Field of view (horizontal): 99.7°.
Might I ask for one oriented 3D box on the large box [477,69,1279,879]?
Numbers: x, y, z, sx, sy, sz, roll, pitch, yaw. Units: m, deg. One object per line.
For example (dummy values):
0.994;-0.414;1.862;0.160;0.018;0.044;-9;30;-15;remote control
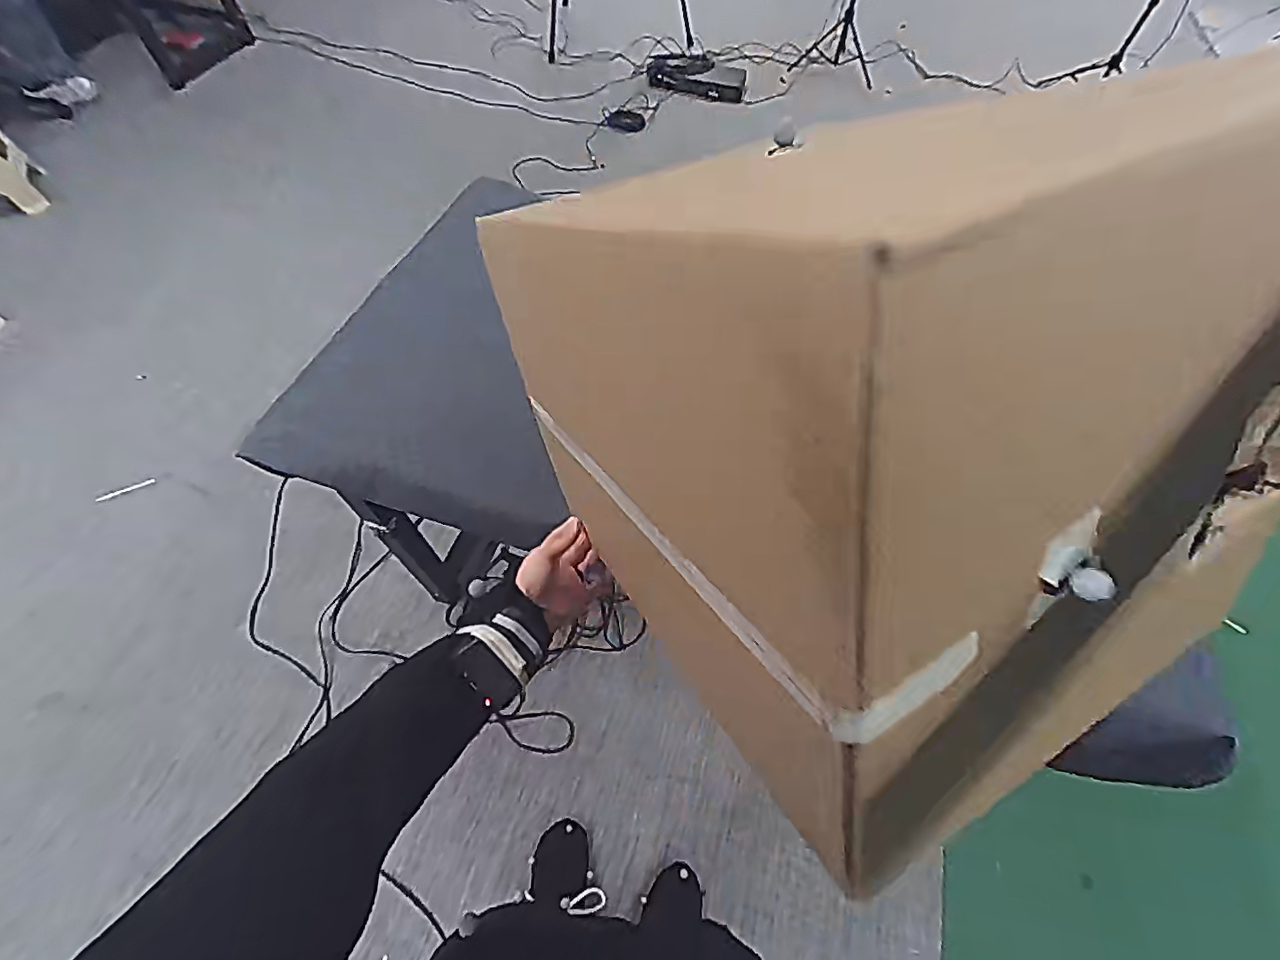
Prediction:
0.117;-0.051;0.393;0.320;0.320;0.408;-24;32;-17;large box
